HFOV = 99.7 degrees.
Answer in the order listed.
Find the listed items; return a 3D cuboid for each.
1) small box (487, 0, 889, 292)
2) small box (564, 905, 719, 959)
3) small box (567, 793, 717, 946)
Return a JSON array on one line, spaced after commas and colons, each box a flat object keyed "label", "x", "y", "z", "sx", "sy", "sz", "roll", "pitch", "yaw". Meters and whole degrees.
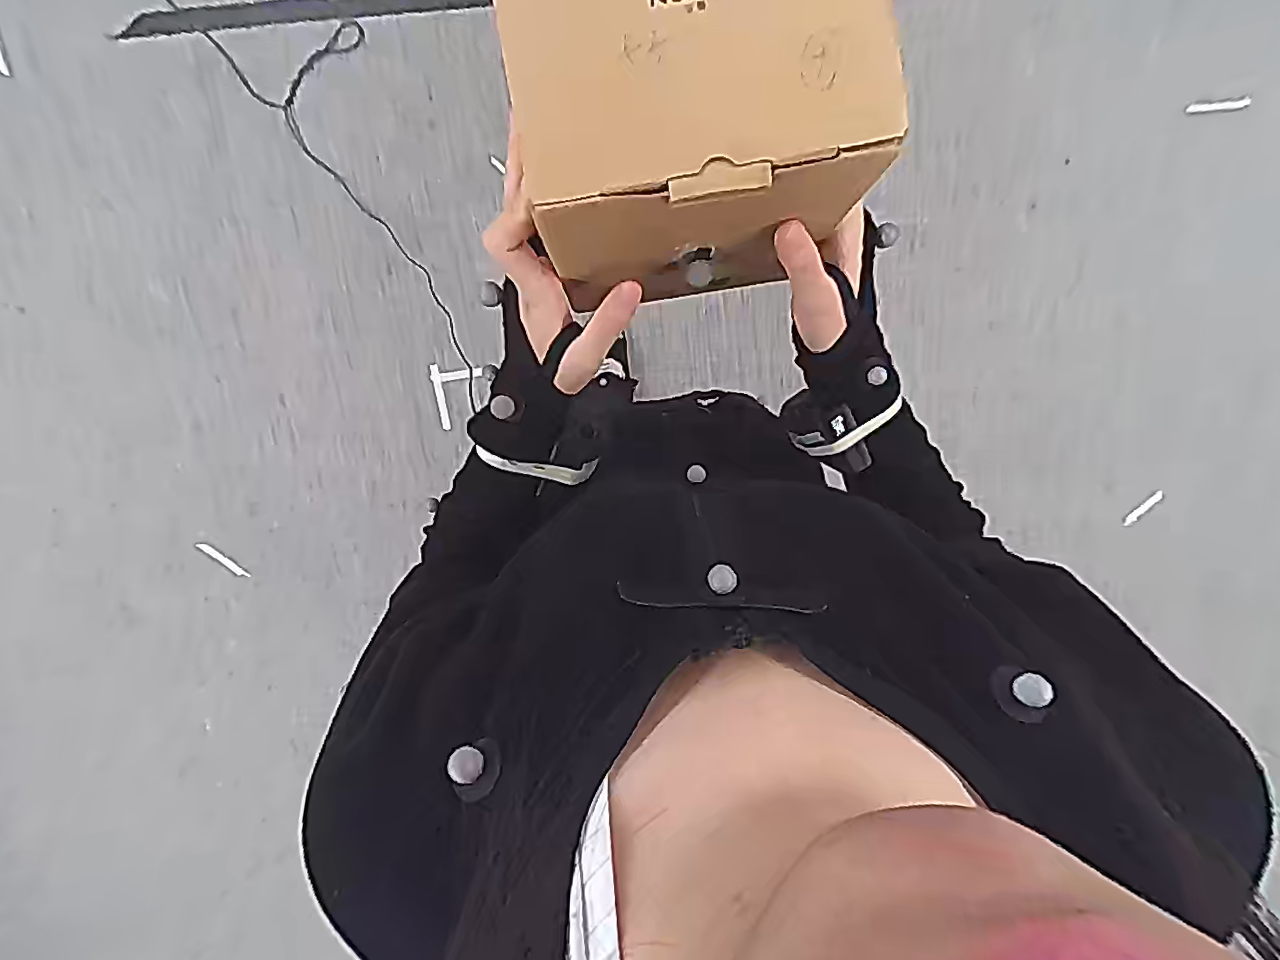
[{"label": "small box", "x": 0.016, "y": -0.221, "z": 0.310, "sx": 0.168, "sy": 0.176, "sz": 0.179, "roll": -10, "pitch": 92, "yaw": 0}, {"label": "small box", "x": 0.004, "y": 0.579, "z": 0.556, "sx": 0.168, "sy": 0.176, "sz": 0.179, "roll": -3, "pitch": 101, "yaw": 0}, {"label": "small box", "x": 0.005, "y": 0.547, "z": 0.717, "sx": 0.179, "sy": 0.176, "sz": 0.168, "roll": -2, "pitch": 100, "yaw": 0}]
